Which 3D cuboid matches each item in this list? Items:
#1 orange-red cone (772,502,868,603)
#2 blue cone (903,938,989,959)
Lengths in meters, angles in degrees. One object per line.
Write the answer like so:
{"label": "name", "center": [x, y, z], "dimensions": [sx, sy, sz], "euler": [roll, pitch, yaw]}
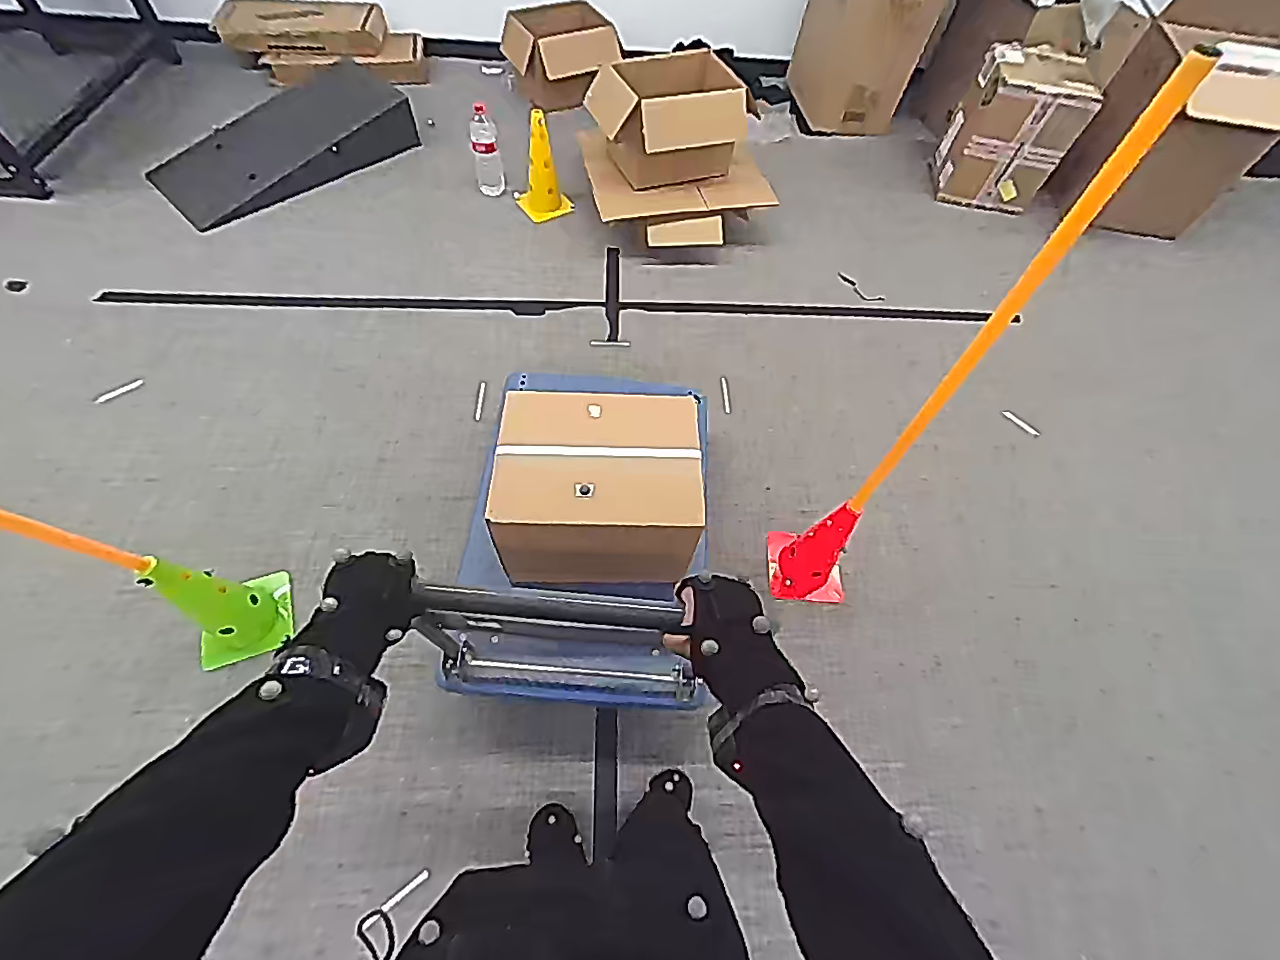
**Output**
{"label": "orange-red cone", "center": [0.477, 0.151, 1.348], "dimensions": [0.199, 0.360, 0.198], "euler": [6, 59, -2]}
{"label": "blue cone", "center": [0.630, 0.934, 0.907], "dimensions": [0.193, 0.380, 0.192], "euler": [-3, 58, -7]}
